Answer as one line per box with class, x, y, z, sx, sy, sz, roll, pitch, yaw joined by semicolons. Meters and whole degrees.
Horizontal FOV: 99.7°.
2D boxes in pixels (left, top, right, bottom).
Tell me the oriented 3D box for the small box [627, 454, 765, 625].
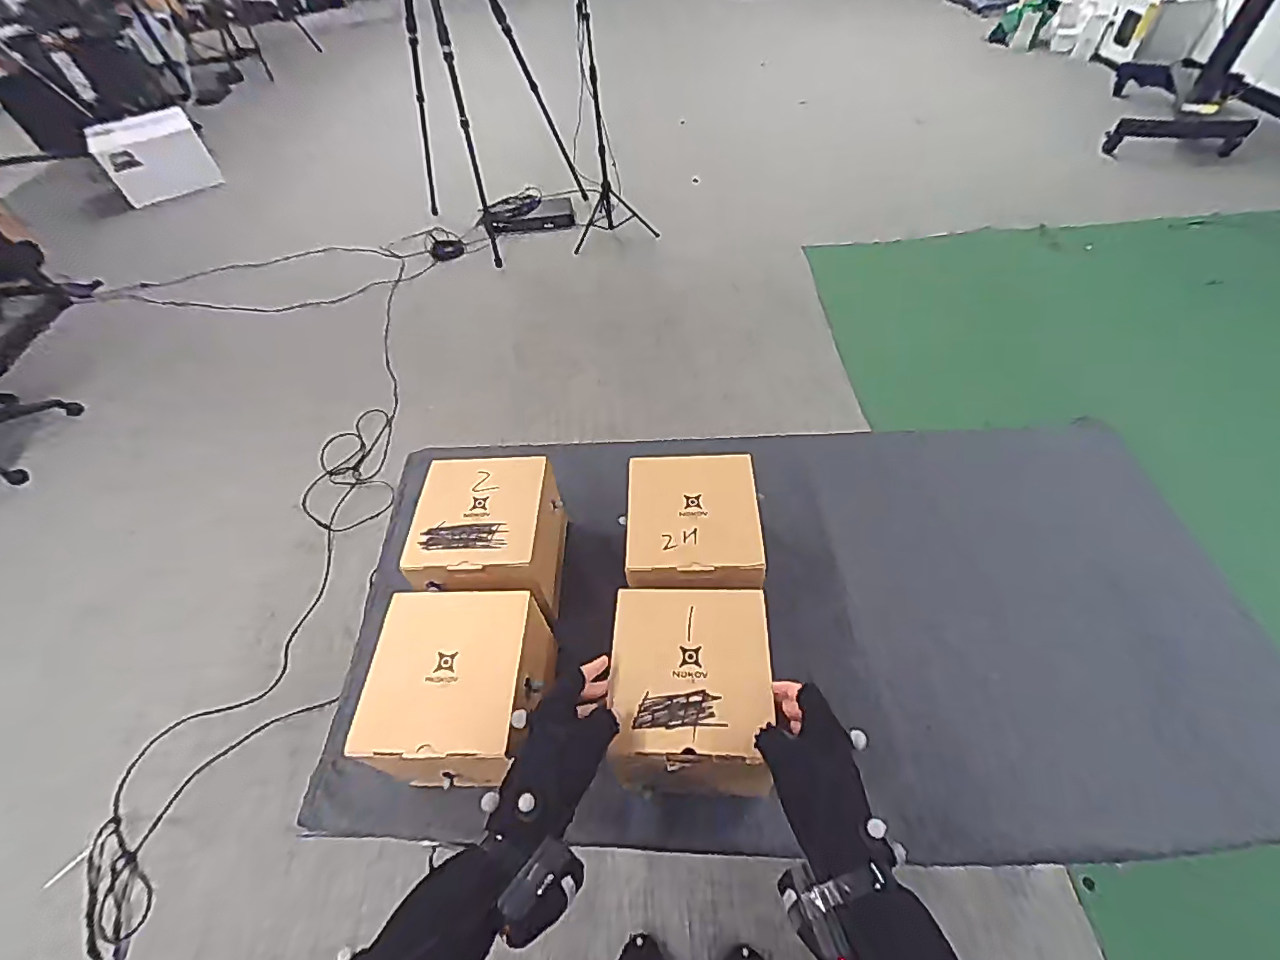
small box;0.073;0.083;0.748;0.168;0.176;0.179;-1;52;4
